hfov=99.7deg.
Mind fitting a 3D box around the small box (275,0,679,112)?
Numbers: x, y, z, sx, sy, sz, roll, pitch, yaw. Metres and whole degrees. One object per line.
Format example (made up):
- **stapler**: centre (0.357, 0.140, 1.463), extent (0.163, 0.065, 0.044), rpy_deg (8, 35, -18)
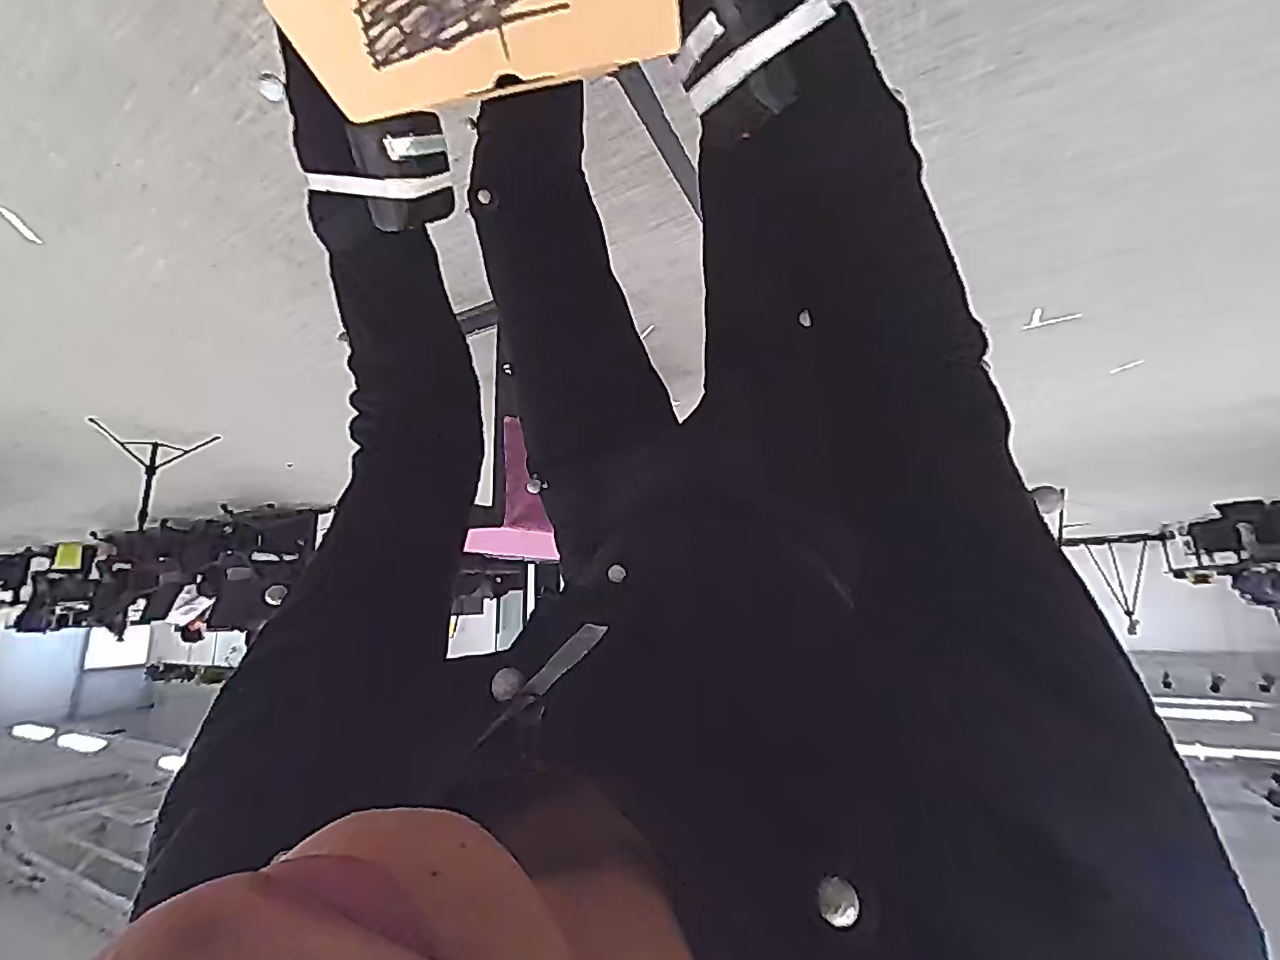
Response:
- **small box**: centre (-0.078, -0.291, 0.200), extent (0.168, 0.176, 0.179), rpy_deg (-7, 161, 7)
